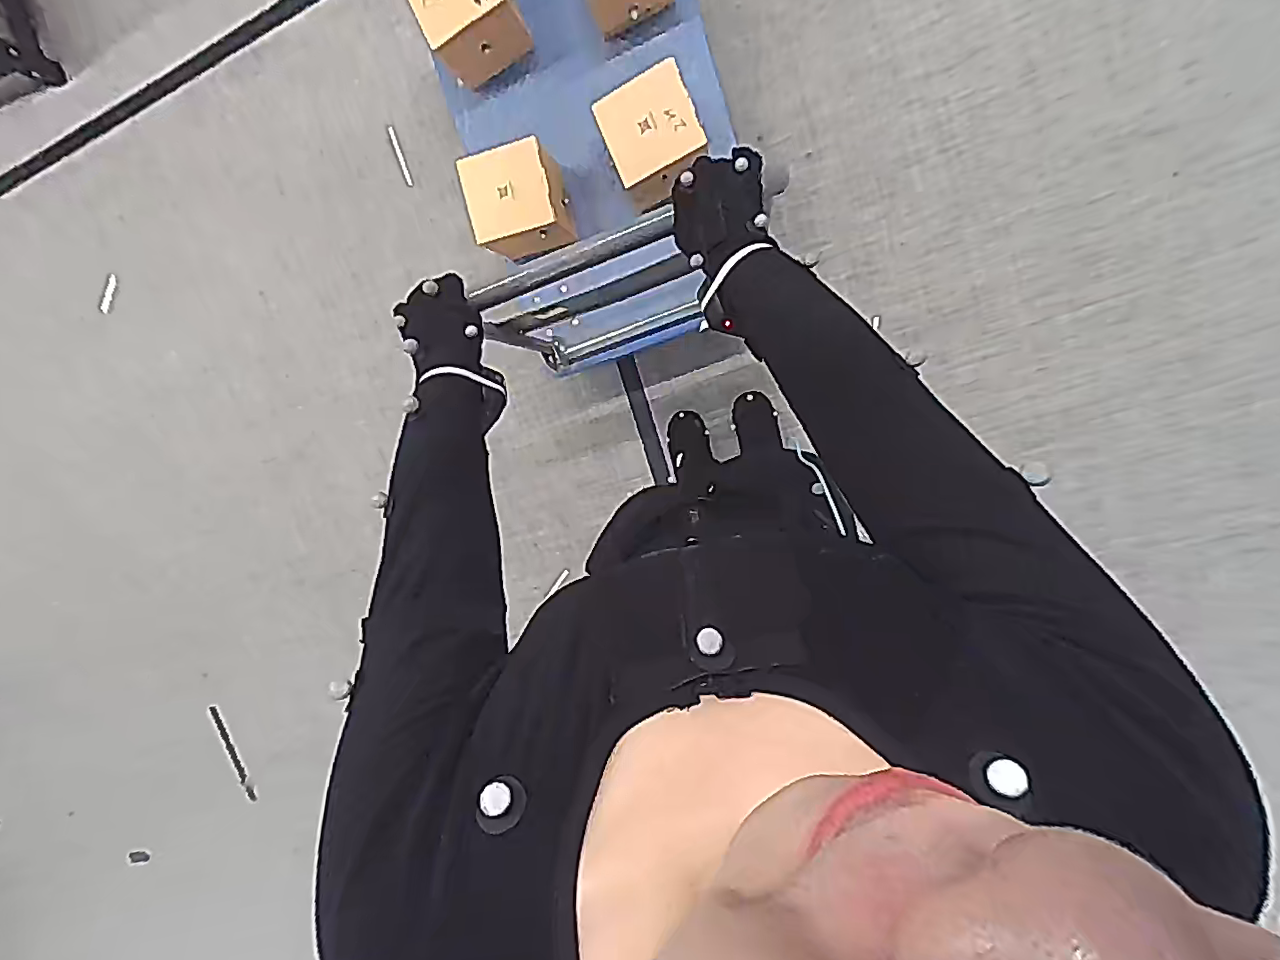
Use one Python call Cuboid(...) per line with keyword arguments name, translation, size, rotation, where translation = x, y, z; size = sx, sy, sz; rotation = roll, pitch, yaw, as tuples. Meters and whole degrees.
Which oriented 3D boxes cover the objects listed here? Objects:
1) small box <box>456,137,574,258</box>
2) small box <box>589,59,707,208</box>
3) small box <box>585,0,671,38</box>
Cuboid(name="small box", translation=(-0.261, -0.596, 1.166), size=(0.179, 0.176, 0.168), rotation=(-12, 99, 10))
Cuboid(name="small box", translation=(0.025, -0.686, 1.099), size=(0.179, 0.176, 0.168), rotation=(-22, 98, 13))
Cuboid(name="small box", translation=(-0.048, -1.018, 1.040), size=(0.168, 0.176, 0.179), rotation=(-18, 99, 13))
